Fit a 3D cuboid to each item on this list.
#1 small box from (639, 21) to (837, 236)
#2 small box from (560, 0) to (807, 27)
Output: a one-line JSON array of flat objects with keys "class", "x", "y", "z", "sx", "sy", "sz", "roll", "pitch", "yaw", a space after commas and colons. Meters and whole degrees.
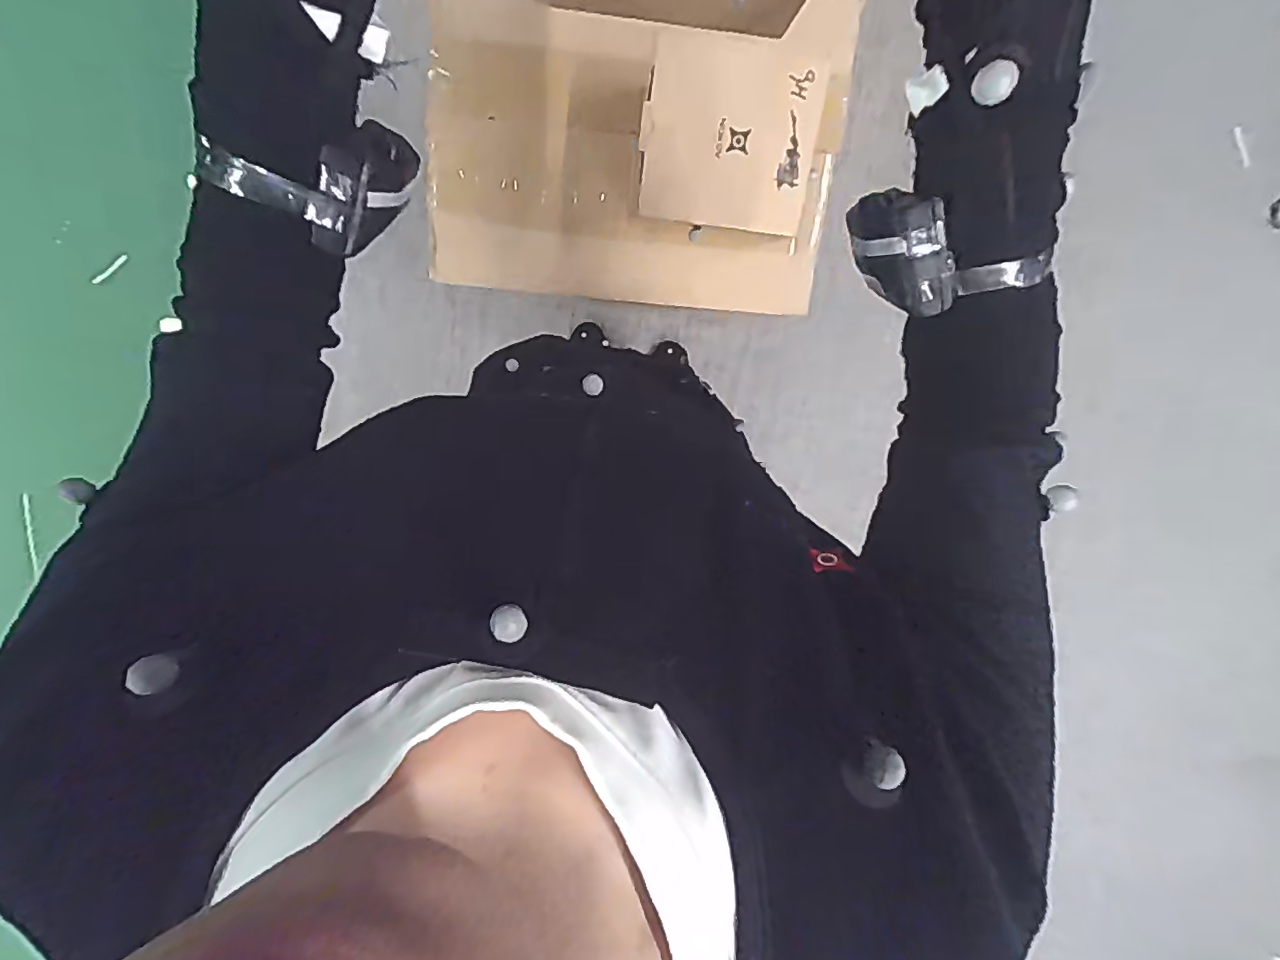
[{"class": "small box", "x": 0.097, "y": -0.383, "z": 0.622, "sx": 0.179, "sy": 0.176, "sz": 0.168, "roll": 7, "pitch": 111, "yaw": -2}, {"class": "small box", "x": 0.032, "y": -0.360, "z": 0.265, "sx": 0.179, "sy": 0.176, "sz": 0.168, "roll": 5, "pitch": 110, "yaw": -1}]
